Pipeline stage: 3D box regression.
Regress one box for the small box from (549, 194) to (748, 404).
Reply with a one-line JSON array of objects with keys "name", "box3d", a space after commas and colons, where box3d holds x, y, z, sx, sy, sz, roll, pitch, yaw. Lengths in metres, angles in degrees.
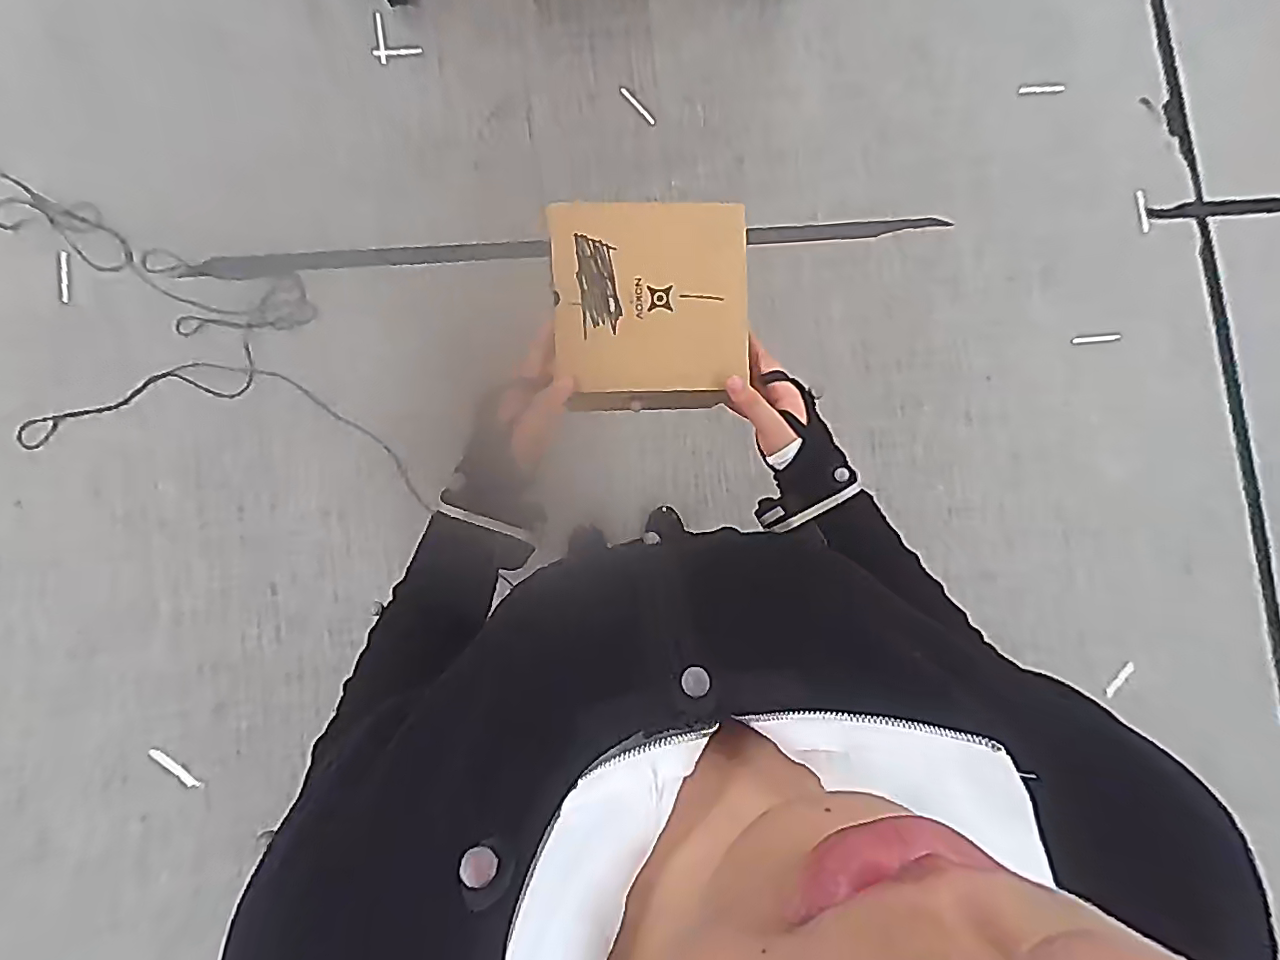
[{"name": "small box", "box3d": [0.004, -0.169, 0.556, 0.179, 0.176, 0.168, -2, 92, -5]}]
